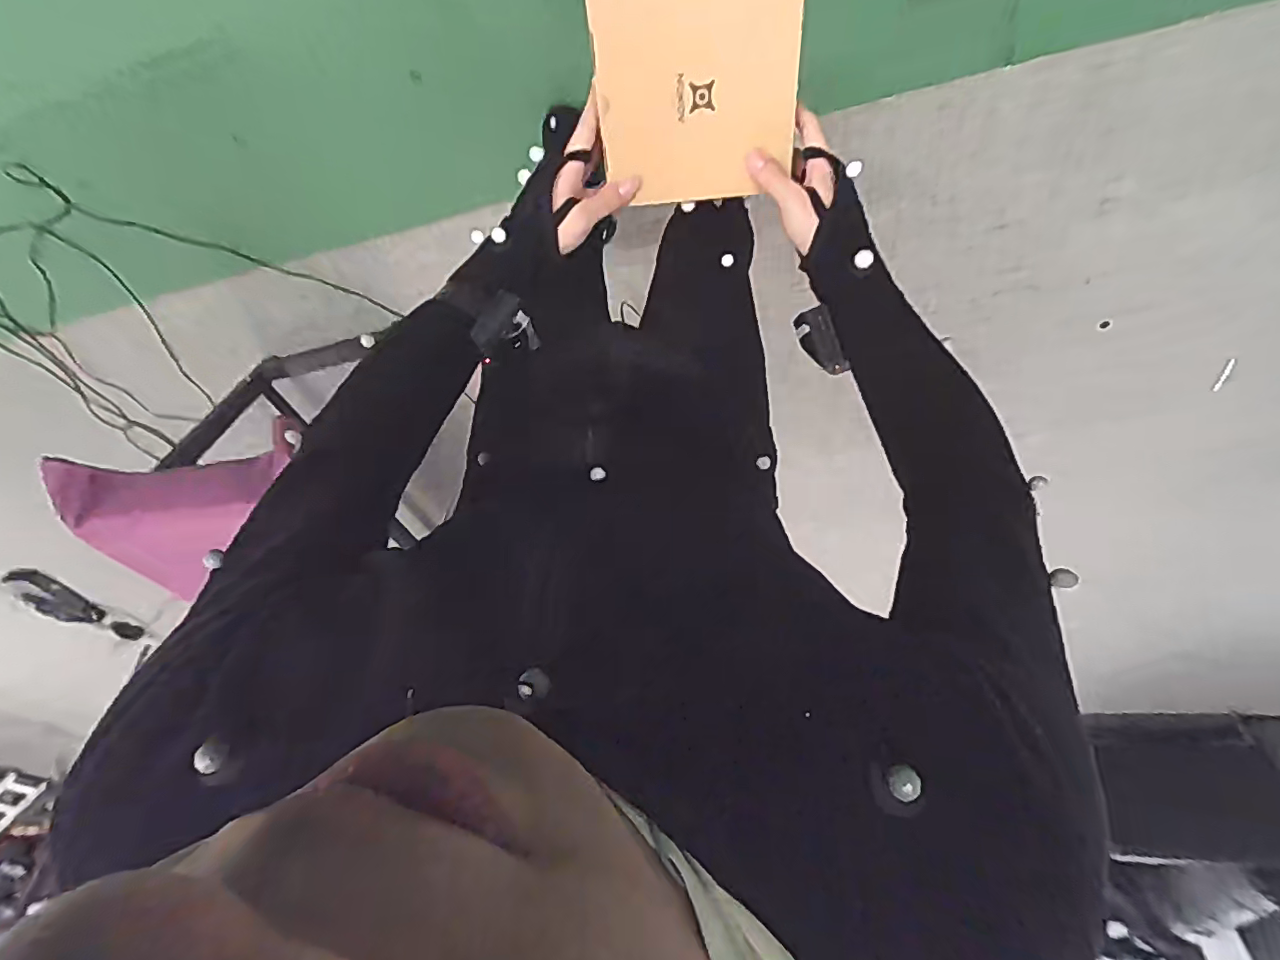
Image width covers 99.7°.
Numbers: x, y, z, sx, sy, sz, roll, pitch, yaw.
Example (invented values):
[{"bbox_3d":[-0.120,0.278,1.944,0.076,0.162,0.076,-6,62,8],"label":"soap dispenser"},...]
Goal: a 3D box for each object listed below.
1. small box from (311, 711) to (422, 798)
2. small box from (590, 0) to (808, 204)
[{"bbox_3d":[-0.727,0.738,1.458,0.168,0.176,0.179,-7,134,16],"label":"small box"},{"bbox_3d":[0.054,-0.388,0.532,0.179,0.176,0.168,-3,129,6],"label":"small box"}]
